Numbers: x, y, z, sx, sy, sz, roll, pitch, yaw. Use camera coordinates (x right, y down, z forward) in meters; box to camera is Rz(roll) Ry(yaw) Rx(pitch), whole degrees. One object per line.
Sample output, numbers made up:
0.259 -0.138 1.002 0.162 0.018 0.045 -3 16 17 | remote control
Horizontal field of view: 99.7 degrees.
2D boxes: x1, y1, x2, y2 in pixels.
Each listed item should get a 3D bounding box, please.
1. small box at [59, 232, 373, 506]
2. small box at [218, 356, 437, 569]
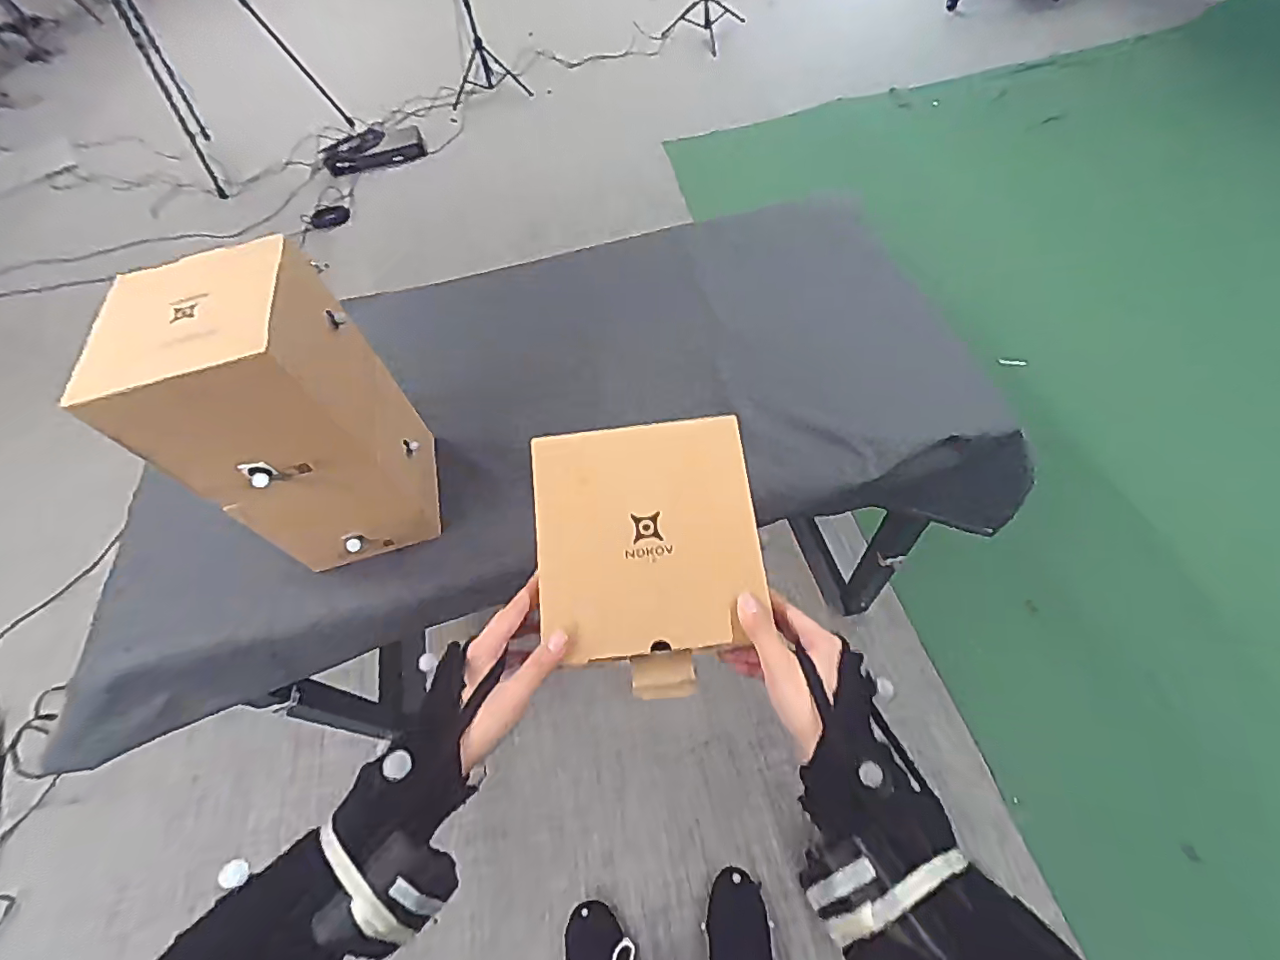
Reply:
-0.385 -0.103 0.533 0.168 0.176 0.179 -18 58 -3 | small box
-0.368 -0.017 0.669 0.168 0.176 0.179 -17 58 -4 | small box
